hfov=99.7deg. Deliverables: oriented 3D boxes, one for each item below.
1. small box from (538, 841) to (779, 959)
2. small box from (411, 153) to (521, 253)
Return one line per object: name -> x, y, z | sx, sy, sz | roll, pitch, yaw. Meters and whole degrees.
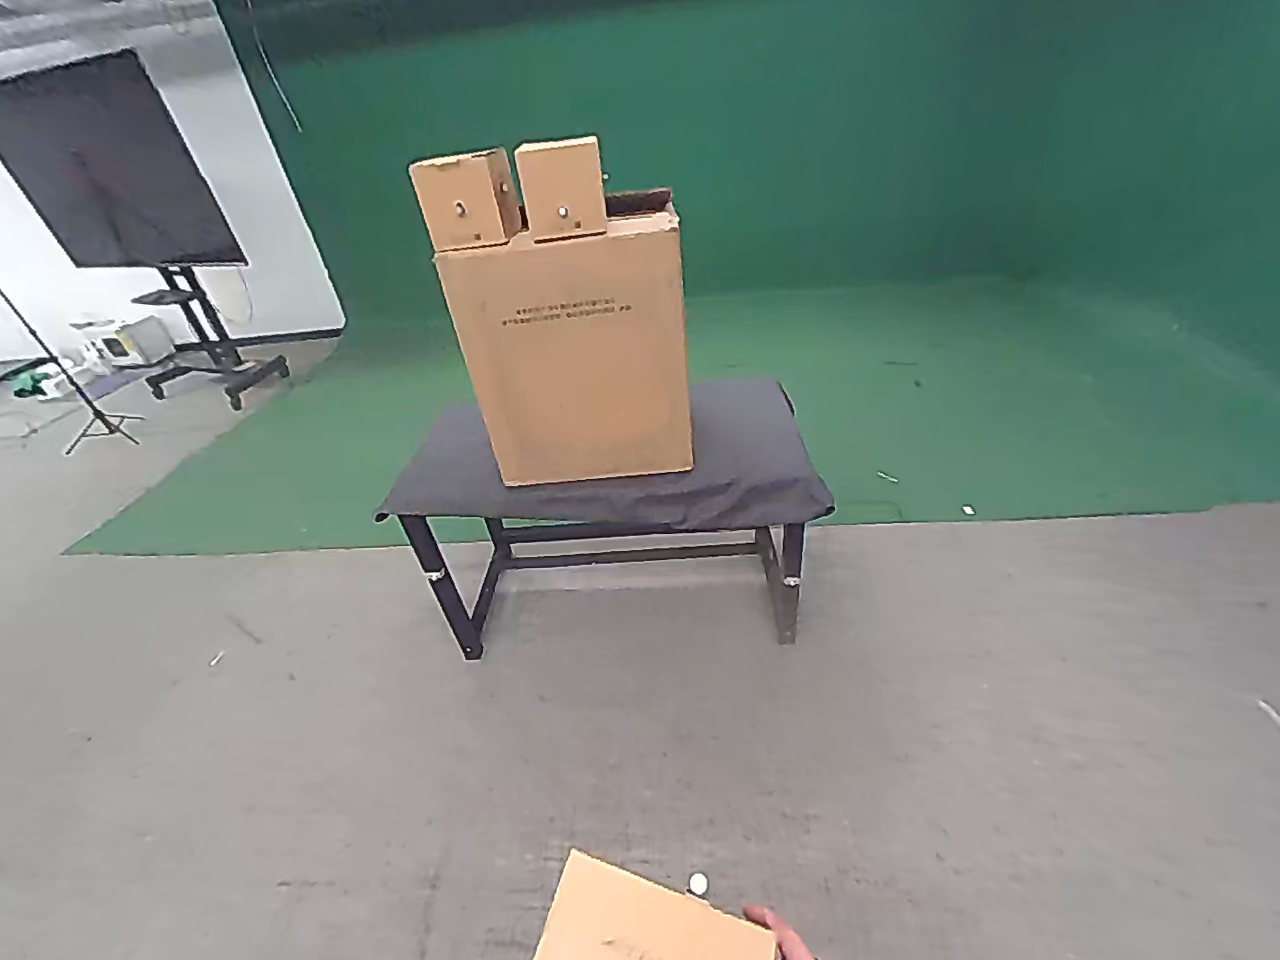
small box -> 0.010, 0.423, 0.430 | 0.168, 0.176, 0.179 | 10, 54, 17
small box -> -0.377, -0.616, 1.210 | 0.168, 0.176, 0.179 | -5, 35, 5
